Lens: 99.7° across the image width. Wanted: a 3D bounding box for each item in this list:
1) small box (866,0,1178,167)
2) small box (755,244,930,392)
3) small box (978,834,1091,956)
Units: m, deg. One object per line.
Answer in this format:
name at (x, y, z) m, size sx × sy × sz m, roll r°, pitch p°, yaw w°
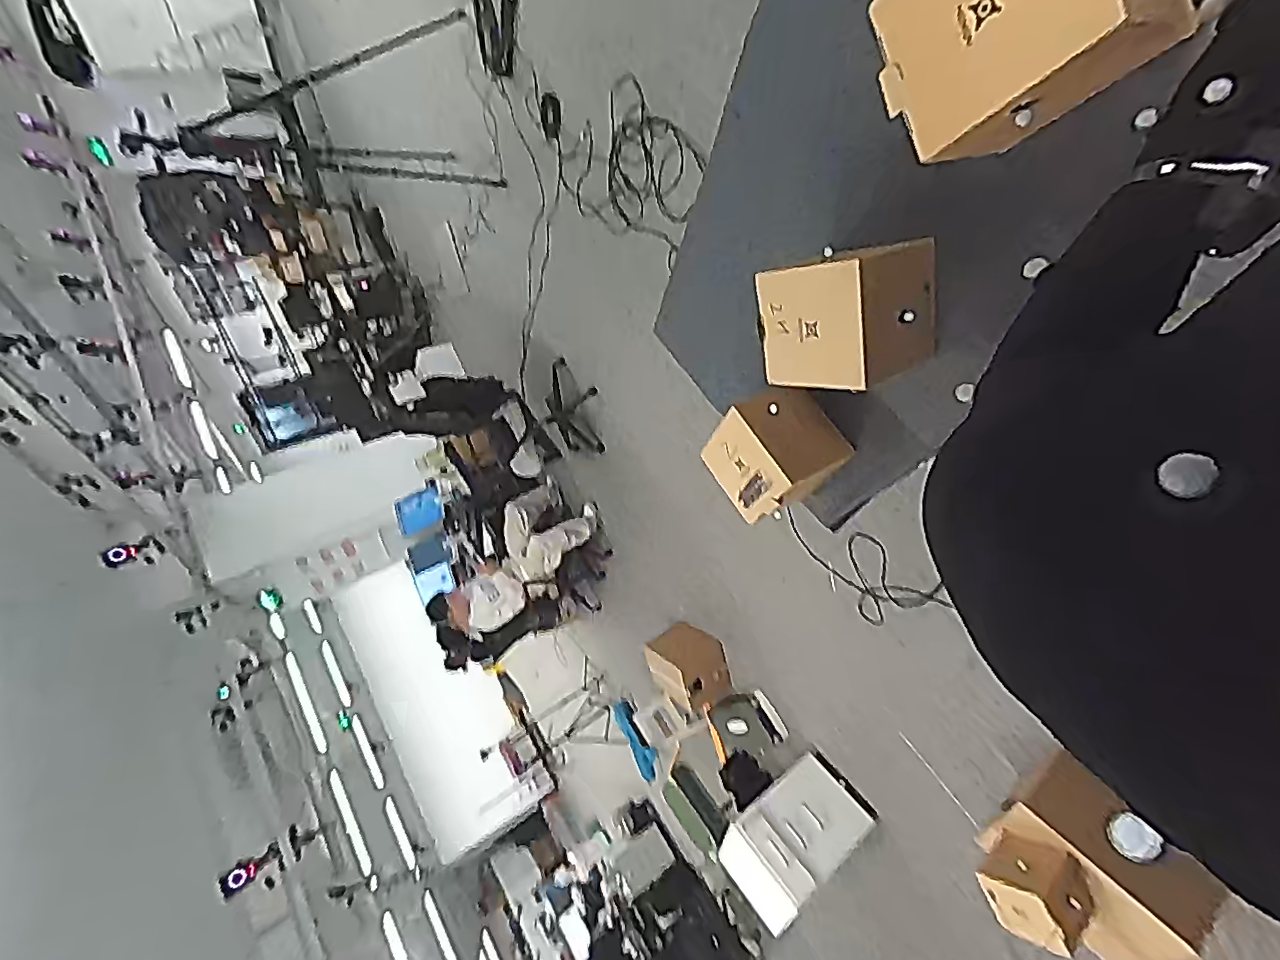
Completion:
small box at (0.363, -0.438, 0.516) m, size 0.179 × 0.176 × 0.168 m, roll -15°, pitch 98°, yaw 63°
small box at (0.297, -0.235, 0.787) m, size 0.179 × 0.176 × 0.168 m, roll 19°, pitch 127°, yaw 54°
small box at (1.061, 1.095, 1.447) m, size 0.168 × 0.176 × 0.179 m, roll 64°, pitch 150°, yaw 3°
